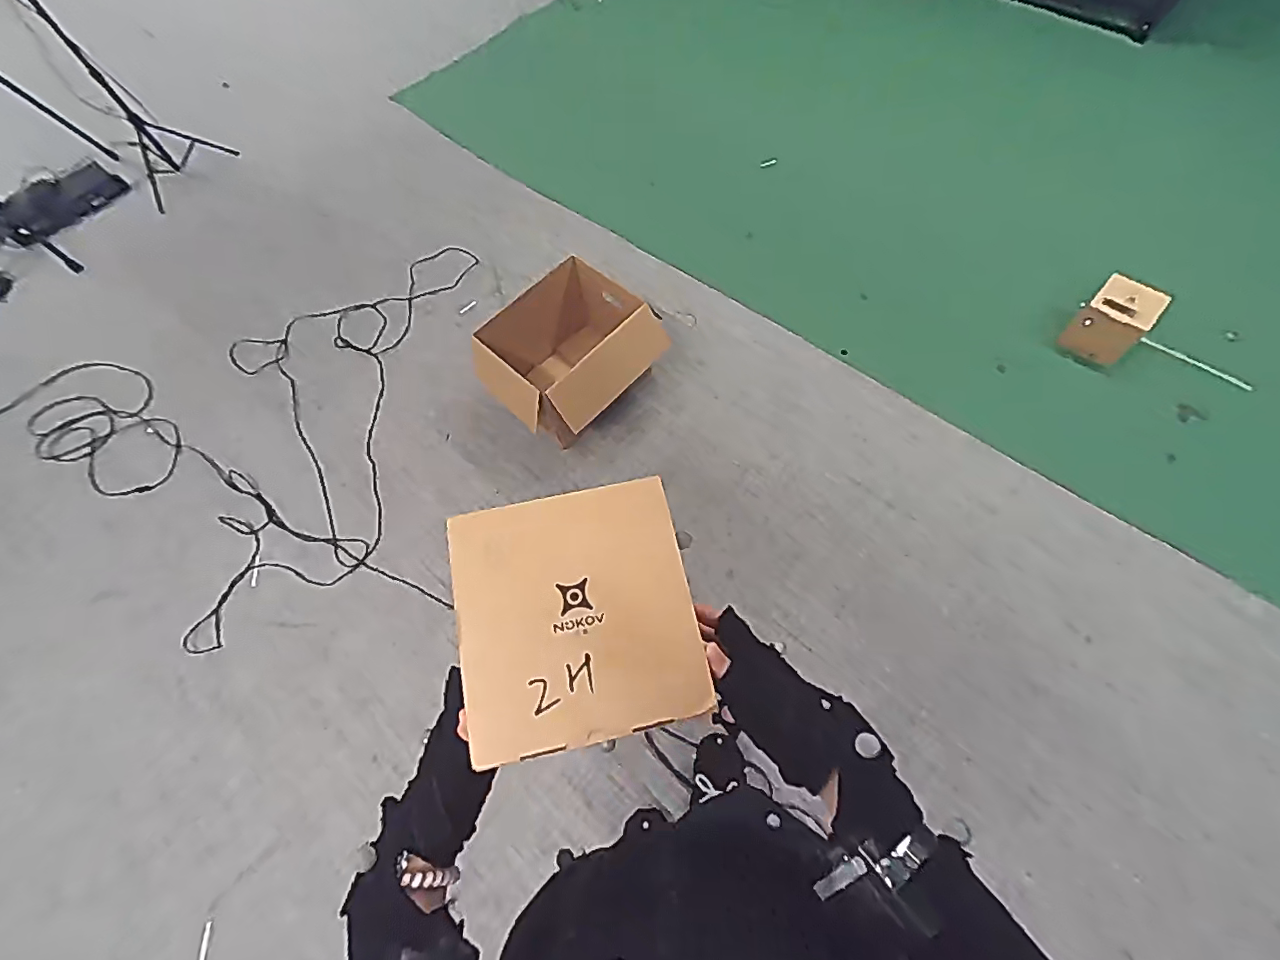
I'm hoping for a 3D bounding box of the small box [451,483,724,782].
[{"bbox_3d":[-0.044,0.123,0.445,0.168,0.176,0.179,-11,70,-6],"label":"small box"}]
